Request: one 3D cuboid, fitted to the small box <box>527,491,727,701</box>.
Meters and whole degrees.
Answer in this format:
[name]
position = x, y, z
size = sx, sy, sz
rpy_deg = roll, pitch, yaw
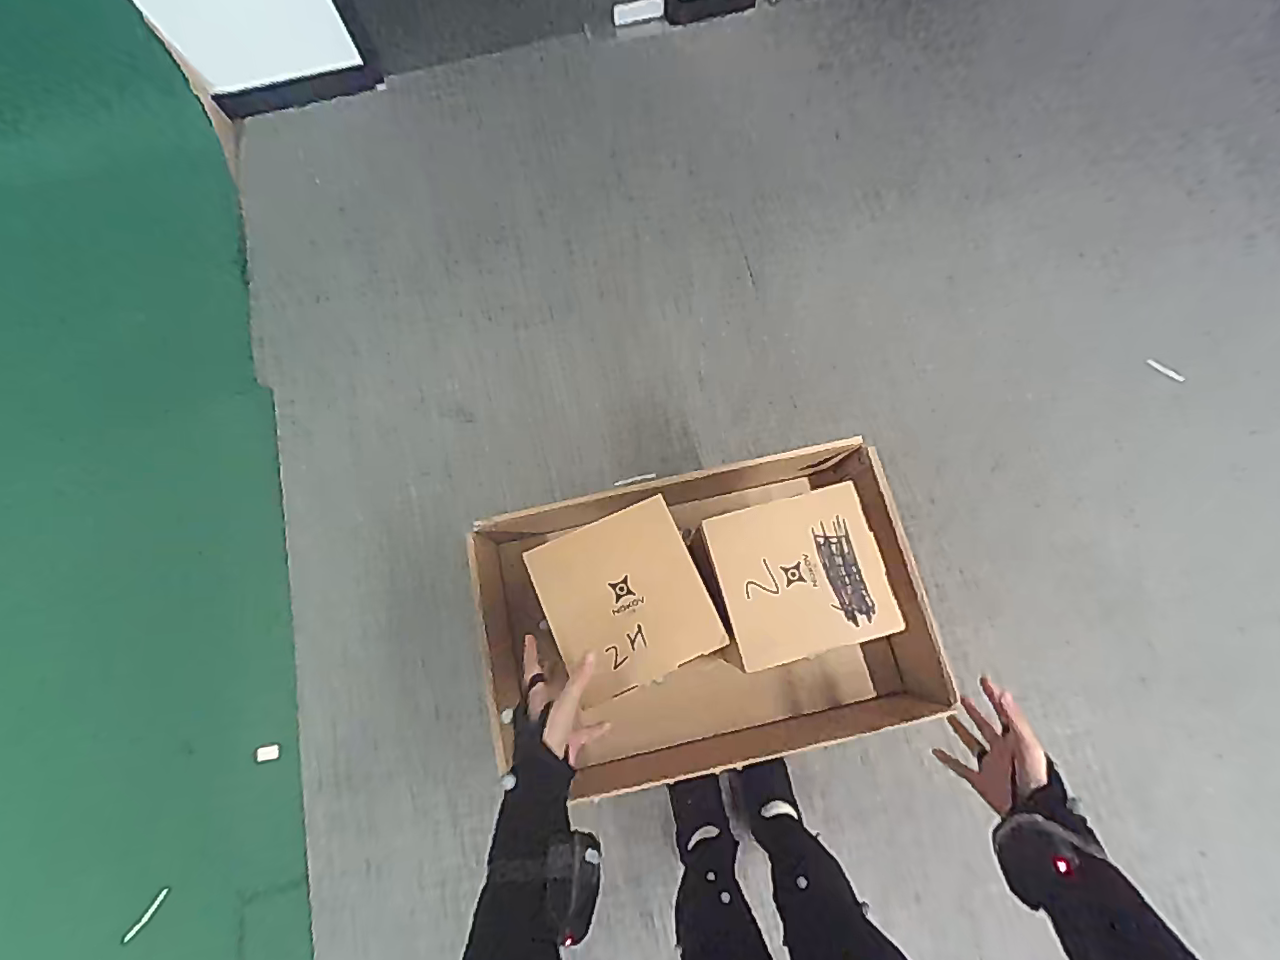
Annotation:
[small box]
position = -0.017, 0.139, 0.644
size = 0.168, 0.176, 0.179
rpy_deg = -23, 75, -5
